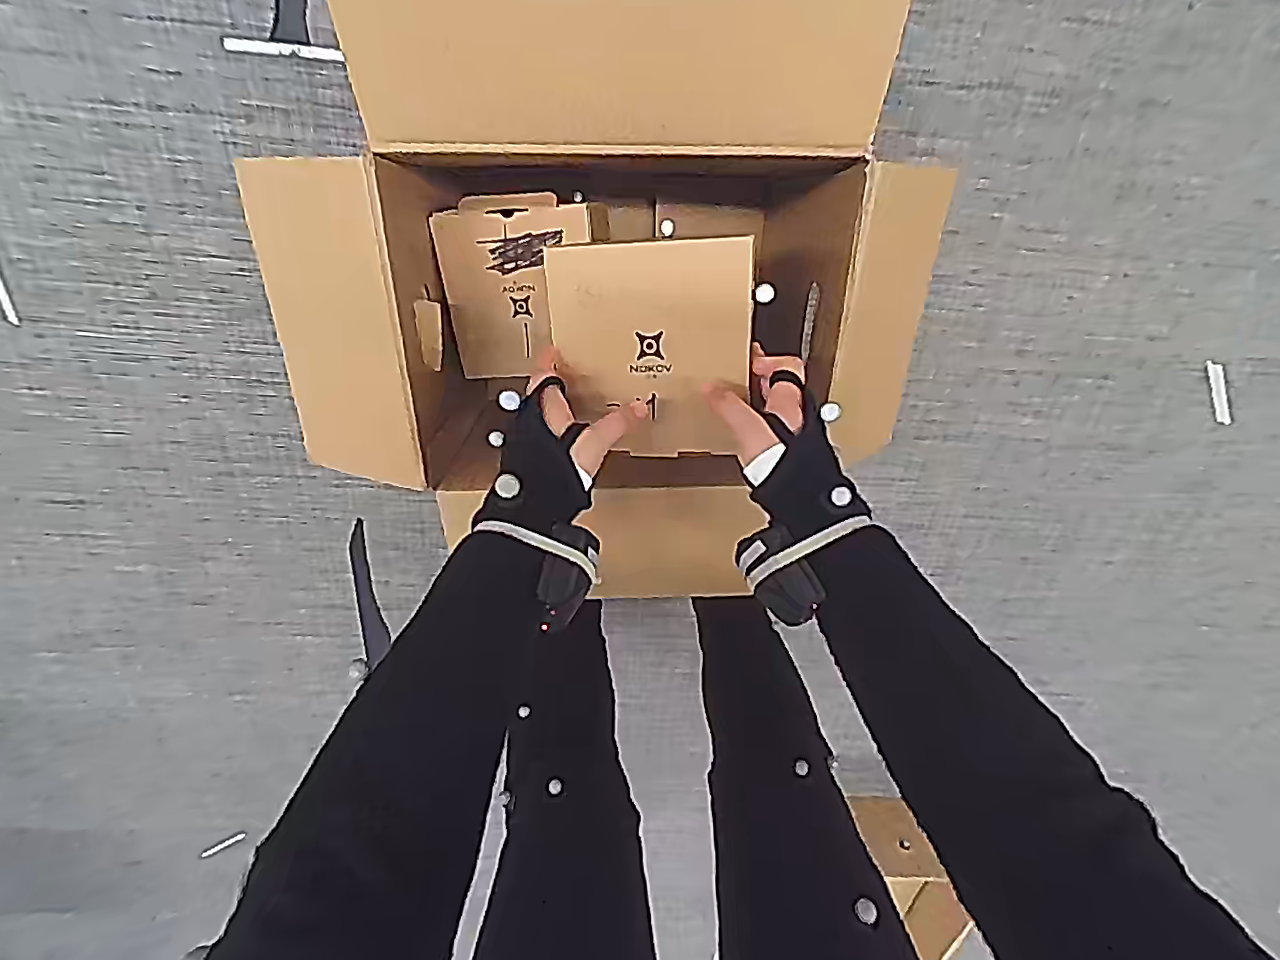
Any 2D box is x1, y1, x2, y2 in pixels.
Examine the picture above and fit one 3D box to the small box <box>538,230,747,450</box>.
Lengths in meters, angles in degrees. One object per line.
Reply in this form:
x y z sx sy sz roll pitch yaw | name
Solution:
0.016 -0.141 0.521 0.168 0.176 0.179 2 115 12 | small box
